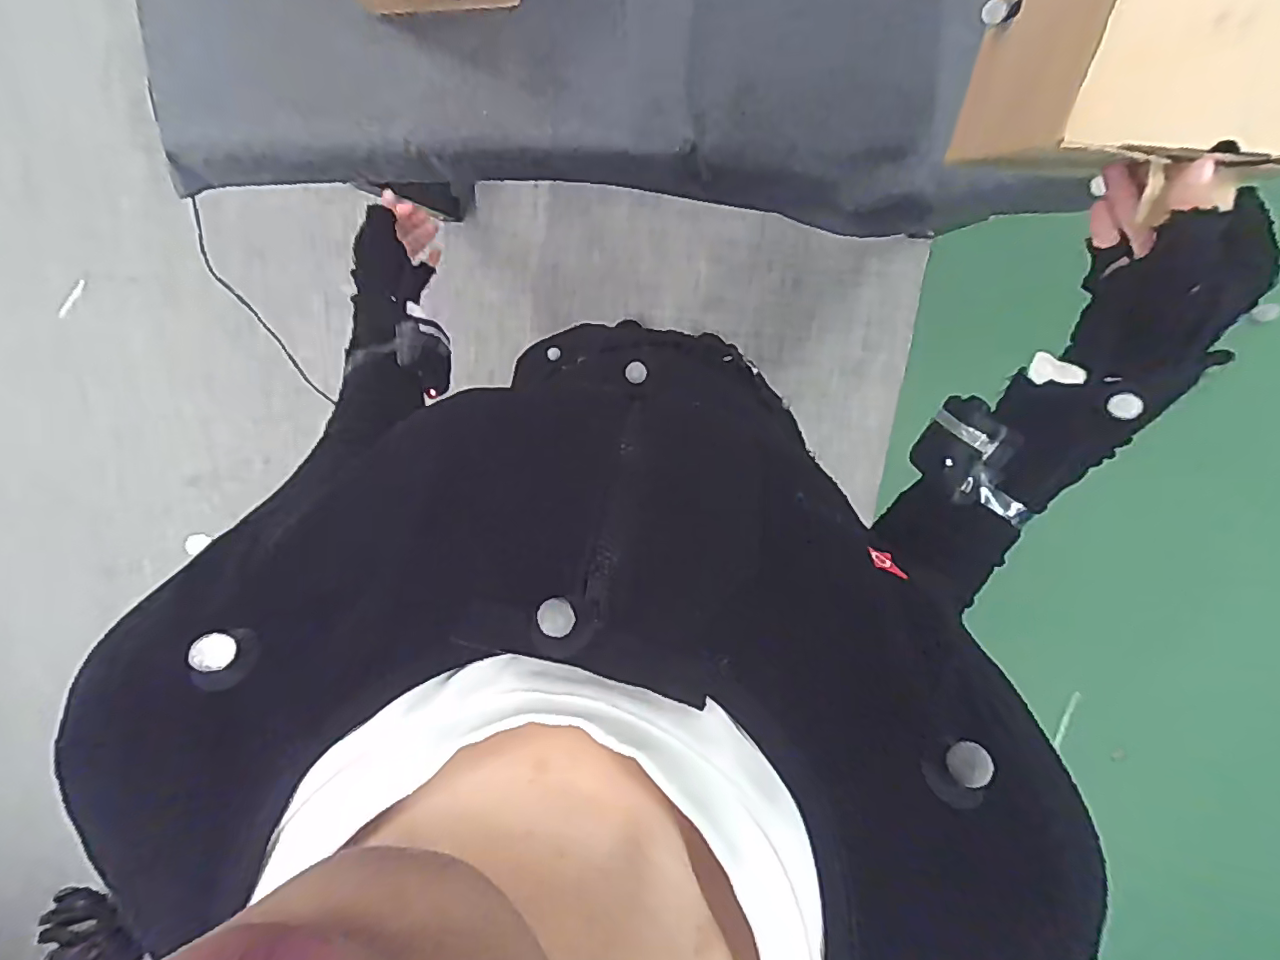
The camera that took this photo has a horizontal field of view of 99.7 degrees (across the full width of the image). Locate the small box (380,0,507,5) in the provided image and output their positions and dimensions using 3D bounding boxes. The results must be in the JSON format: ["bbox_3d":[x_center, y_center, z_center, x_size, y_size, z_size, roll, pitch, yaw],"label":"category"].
[{"bbox_3d":[-0.217,-0.567,0.483,0.168,0.176,0.179,0,105,3],"label":"small box"}]

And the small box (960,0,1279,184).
[{"bbox_3d":[0.321,-0.280,0.318,0.168,0.176,0.179,7,119,4],"label":"small box"}]
